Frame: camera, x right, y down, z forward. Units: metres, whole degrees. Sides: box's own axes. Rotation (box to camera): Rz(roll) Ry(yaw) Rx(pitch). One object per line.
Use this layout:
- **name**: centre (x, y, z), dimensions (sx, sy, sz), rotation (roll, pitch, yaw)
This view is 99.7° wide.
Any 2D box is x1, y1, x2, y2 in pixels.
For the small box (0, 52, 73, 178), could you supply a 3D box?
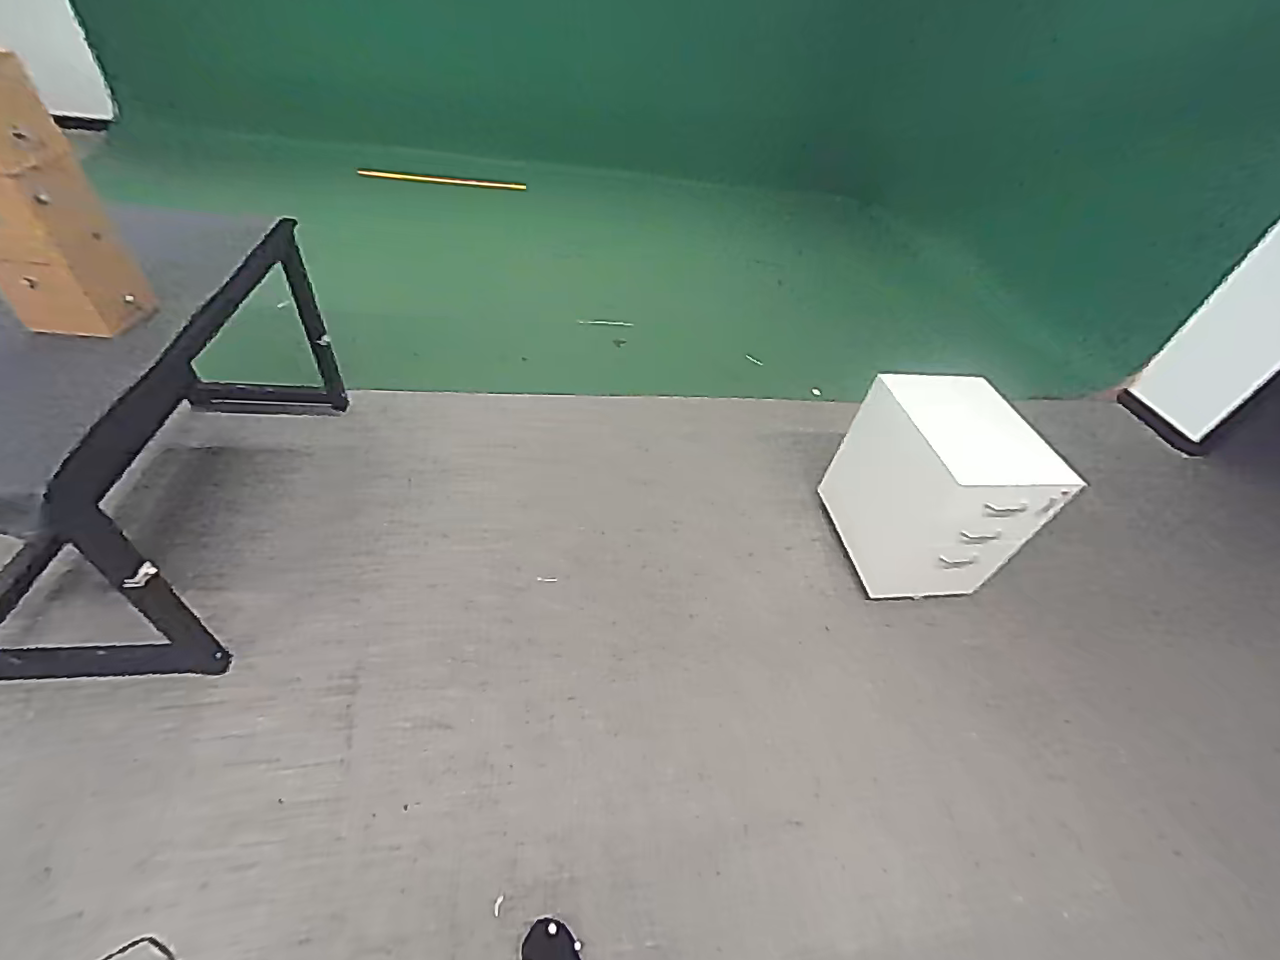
- **small box**: centre (-1.213, -0.660, 0.973), dimensions (0.179, 0.176, 0.168), rotation (1, 44, -8)

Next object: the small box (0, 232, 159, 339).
- **small box**: centre (-1.247, -0.430, 1.202), dimensions (0.179, 0.176, 0.168), rotation (4, 44, -5)
